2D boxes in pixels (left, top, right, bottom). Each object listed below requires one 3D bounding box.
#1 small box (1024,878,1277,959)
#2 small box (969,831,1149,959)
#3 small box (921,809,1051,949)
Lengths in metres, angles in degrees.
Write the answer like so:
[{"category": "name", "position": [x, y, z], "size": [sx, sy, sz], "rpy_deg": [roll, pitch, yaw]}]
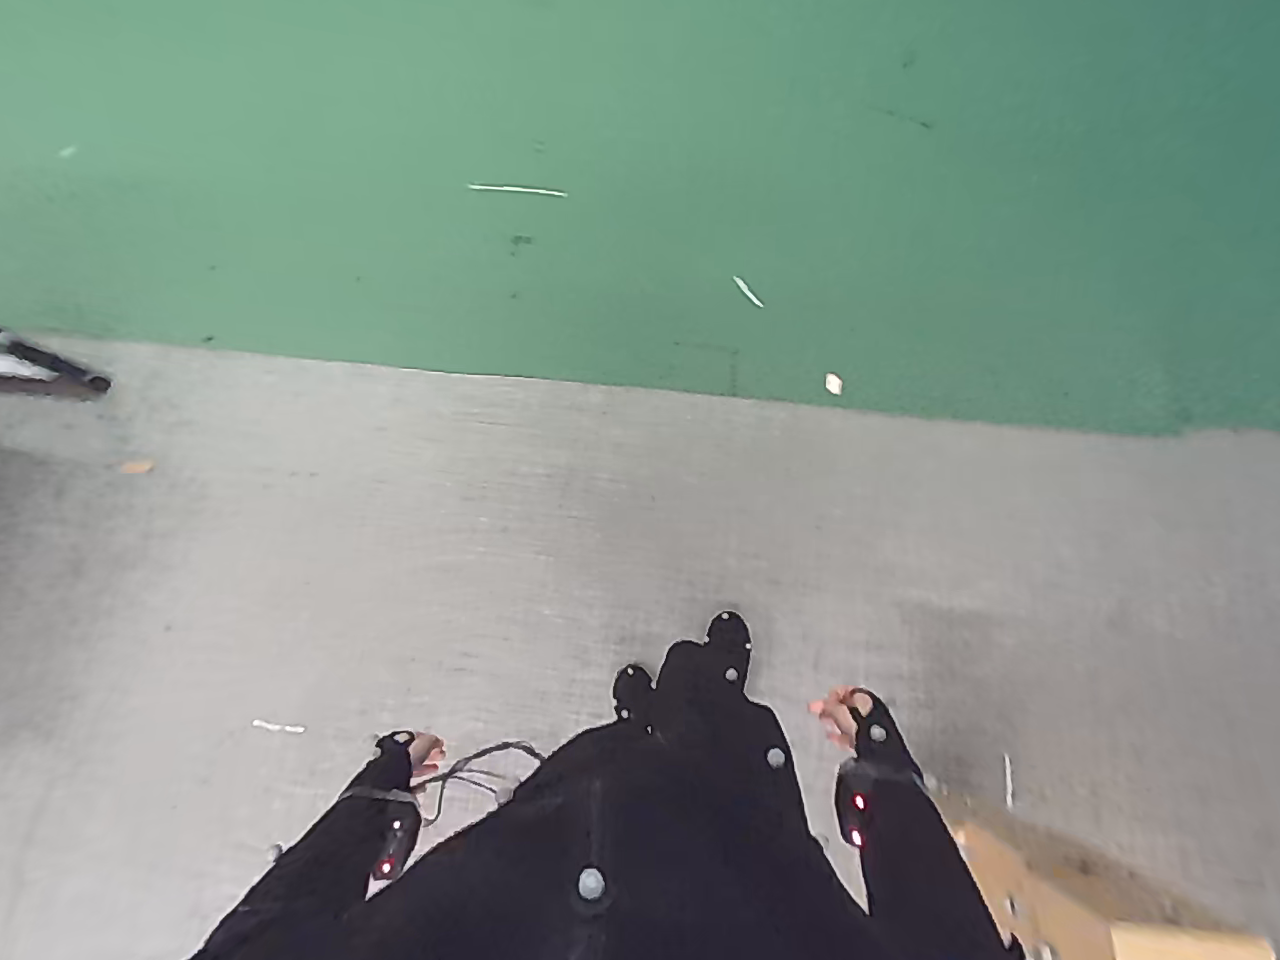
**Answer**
[{"category": "small box", "position": [0.615, 0.618, 0.657], "size": [0.179, 0.176, 0.168], "rpy_deg": [4, 74, 4]}, {"category": "small box", "position": [0.624, 0.661, 0.816], "size": [0.168, 0.176, 0.179], "rpy_deg": [5, 75, 4]}, {"category": "small box", "position": [0.625, 0.713, 0.973], "size": [0.179, 0.176, 0.168], "rpy_deg": [4, 75, 5]}]
